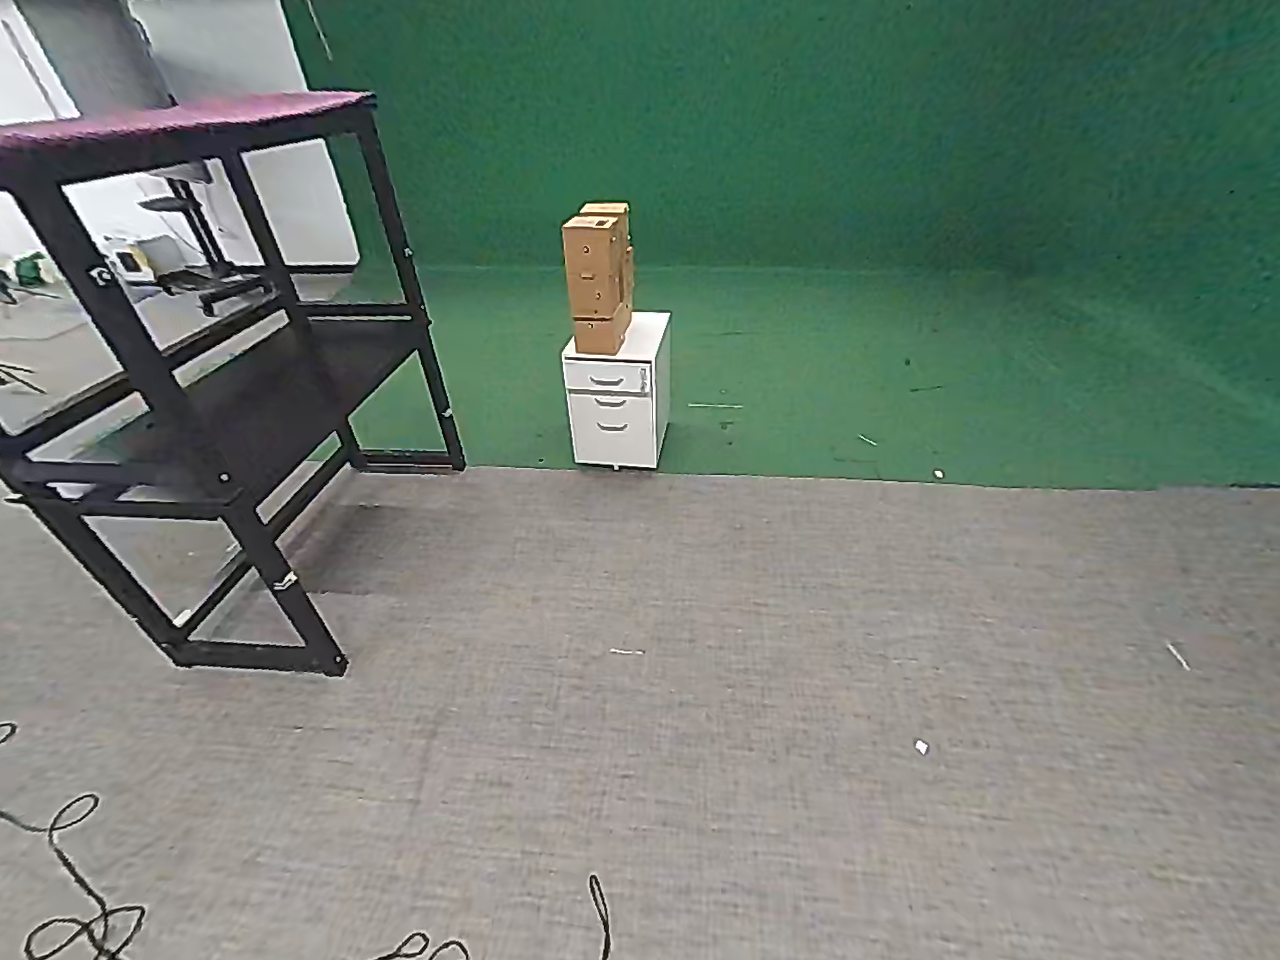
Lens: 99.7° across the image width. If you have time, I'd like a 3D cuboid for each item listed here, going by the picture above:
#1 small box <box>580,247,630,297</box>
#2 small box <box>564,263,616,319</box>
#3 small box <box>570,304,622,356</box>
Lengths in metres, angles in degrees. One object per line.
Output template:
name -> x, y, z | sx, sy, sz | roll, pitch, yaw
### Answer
small box -> -0.145, -0.892, 2.323 | 0.179, 0.176, 0.168 | 7, 38, 10
small box -> -0.190, -0.743, 2.126 | 0.168, 0.176, 0.179 | 5, 37, 8
small box -> -0.177, -0.624, 2.236 | 0.179, 0.176, 0.168 | 7, 38, 10
